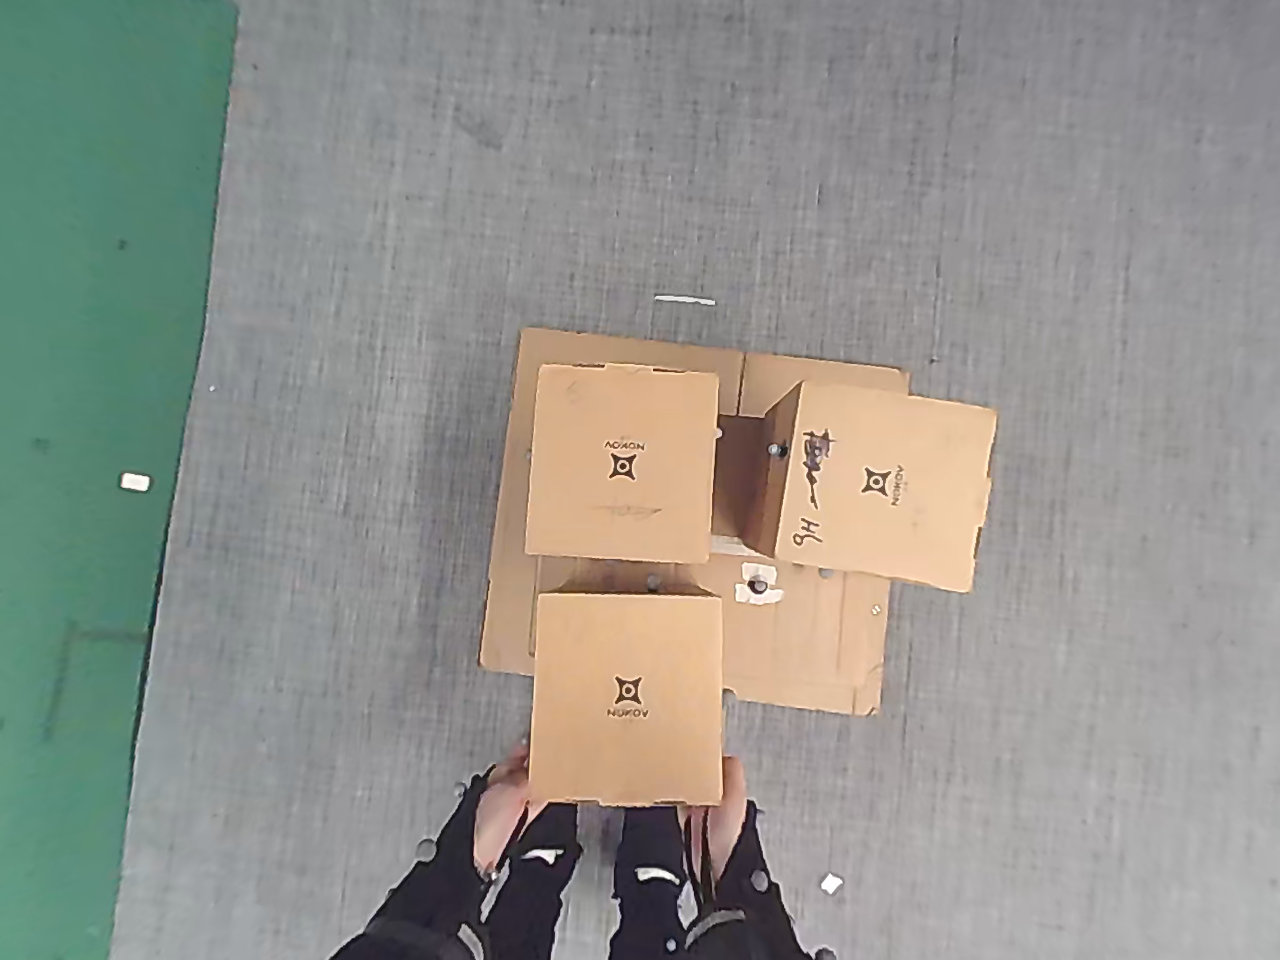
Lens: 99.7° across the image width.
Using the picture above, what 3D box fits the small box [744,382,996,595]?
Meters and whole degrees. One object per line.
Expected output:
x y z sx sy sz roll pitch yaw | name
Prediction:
0.219 0.010 0.559 0.179 0.176 0.168 10 87 2 | small box

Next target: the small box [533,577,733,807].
-0.007 0.194 0.544 0.168 0.176 0.179 3 85 -1 | small box
